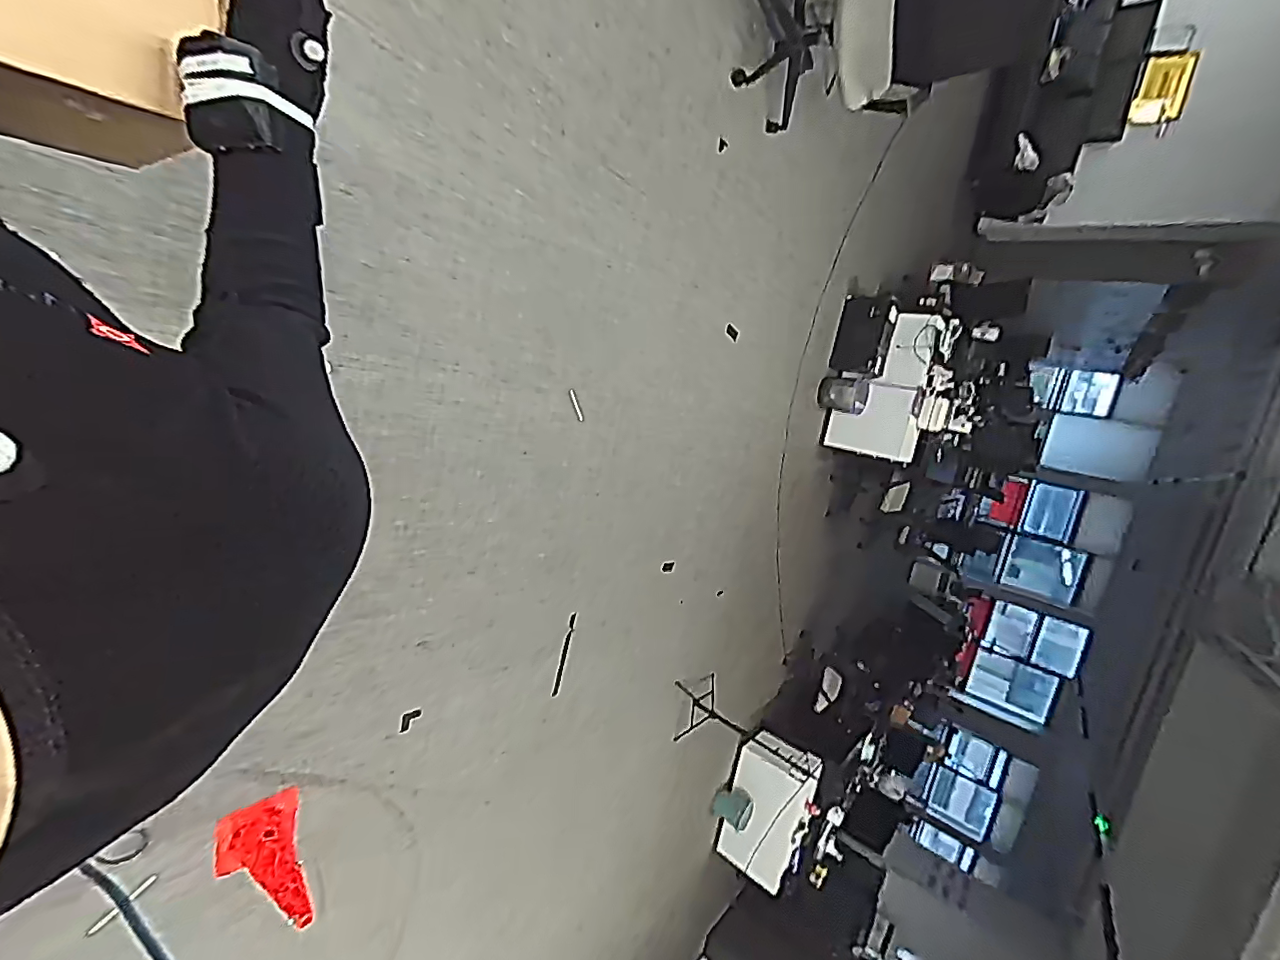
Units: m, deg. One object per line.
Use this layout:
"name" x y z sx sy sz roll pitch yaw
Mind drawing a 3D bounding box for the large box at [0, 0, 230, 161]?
"large box" -0.534 -0.426 0.306 0.408 0.320 0.320 -10 113 -52

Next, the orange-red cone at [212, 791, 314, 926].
"orange-red cone" -0.970 1.051 1.448 0.198 0.360 0.199 -2 105 -53
